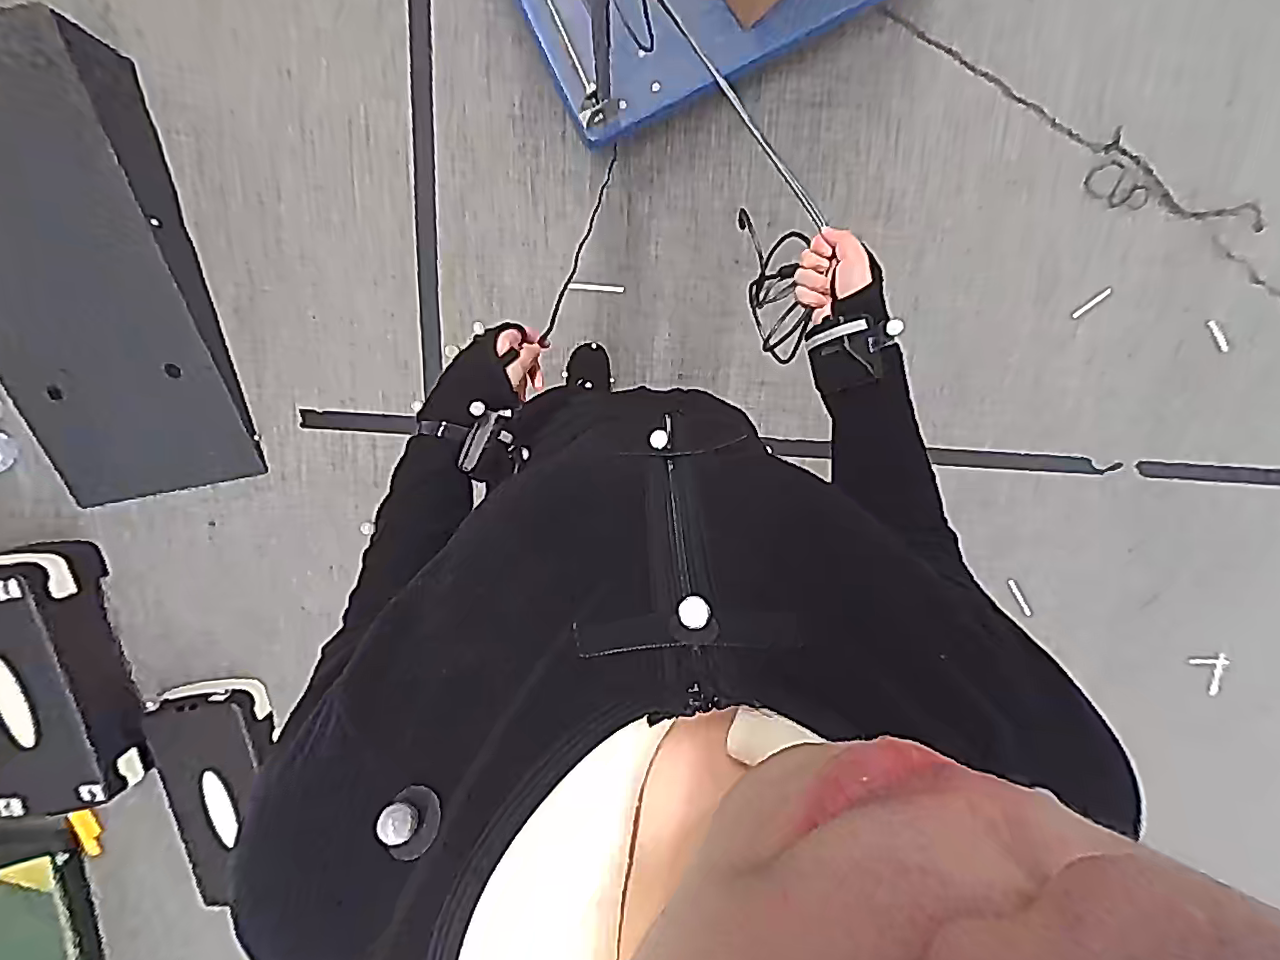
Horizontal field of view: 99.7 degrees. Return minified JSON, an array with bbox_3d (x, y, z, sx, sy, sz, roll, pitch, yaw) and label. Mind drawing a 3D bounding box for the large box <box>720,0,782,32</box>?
[{"bbox_3d":[0.213,-1.156,0.954,0.320,0.320,0.408,-41,101,5],"label":"large box"}]
